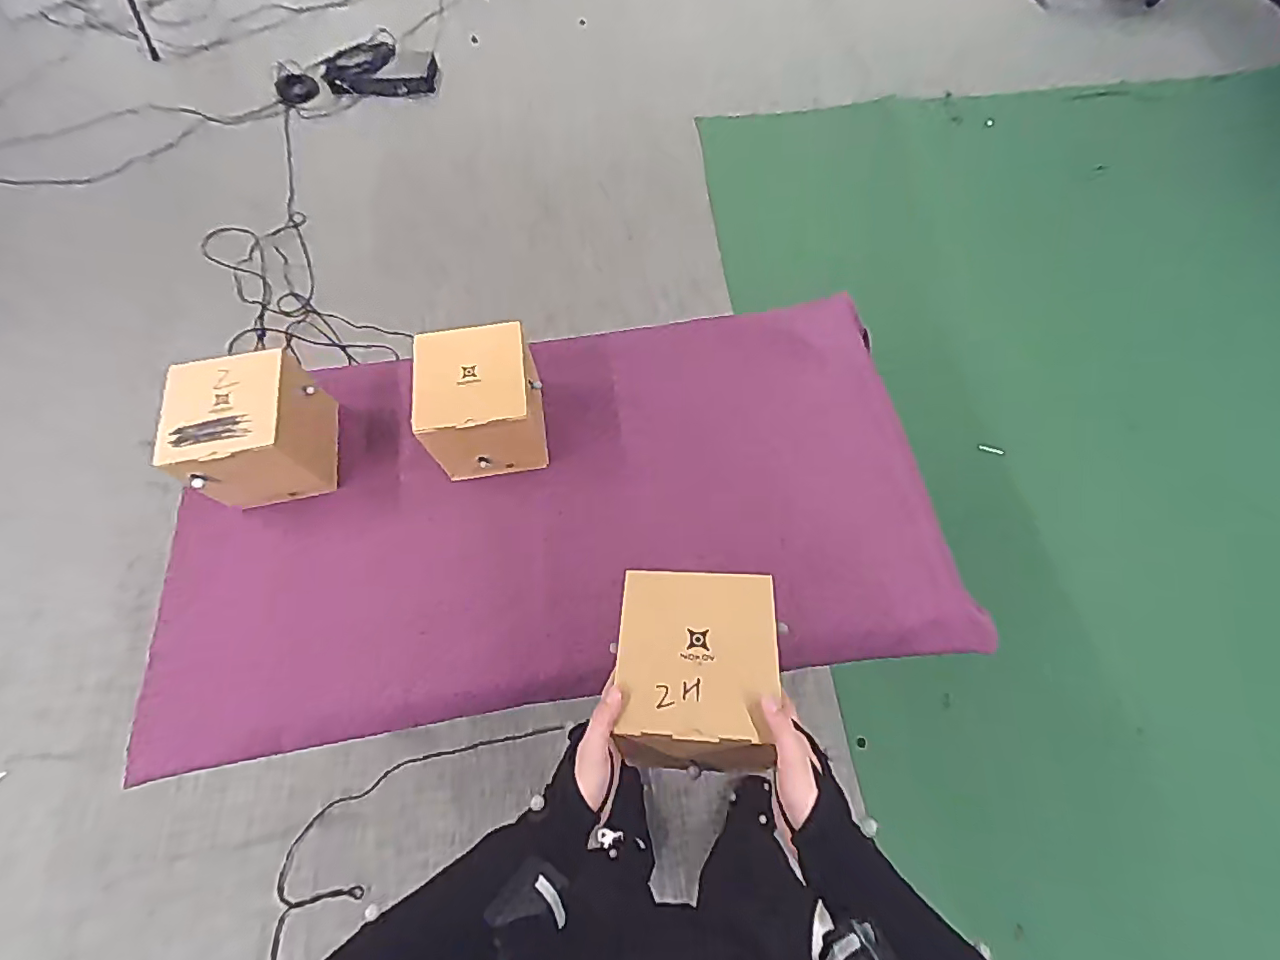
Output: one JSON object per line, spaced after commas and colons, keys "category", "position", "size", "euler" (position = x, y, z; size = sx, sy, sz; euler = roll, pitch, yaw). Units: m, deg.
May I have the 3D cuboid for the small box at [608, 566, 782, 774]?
{"category": "small box", "position": [0.064, 0.217, 0.615], "size": [0.168, 0.176, 0.179], "euler": [1, 53, 7]}

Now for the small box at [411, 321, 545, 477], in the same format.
{"category": "small box", "position": [-0.252, -0.124, 0.867], "size": [0.168, 0.176, 0.179], "euler": [-9, 67, -3]}
